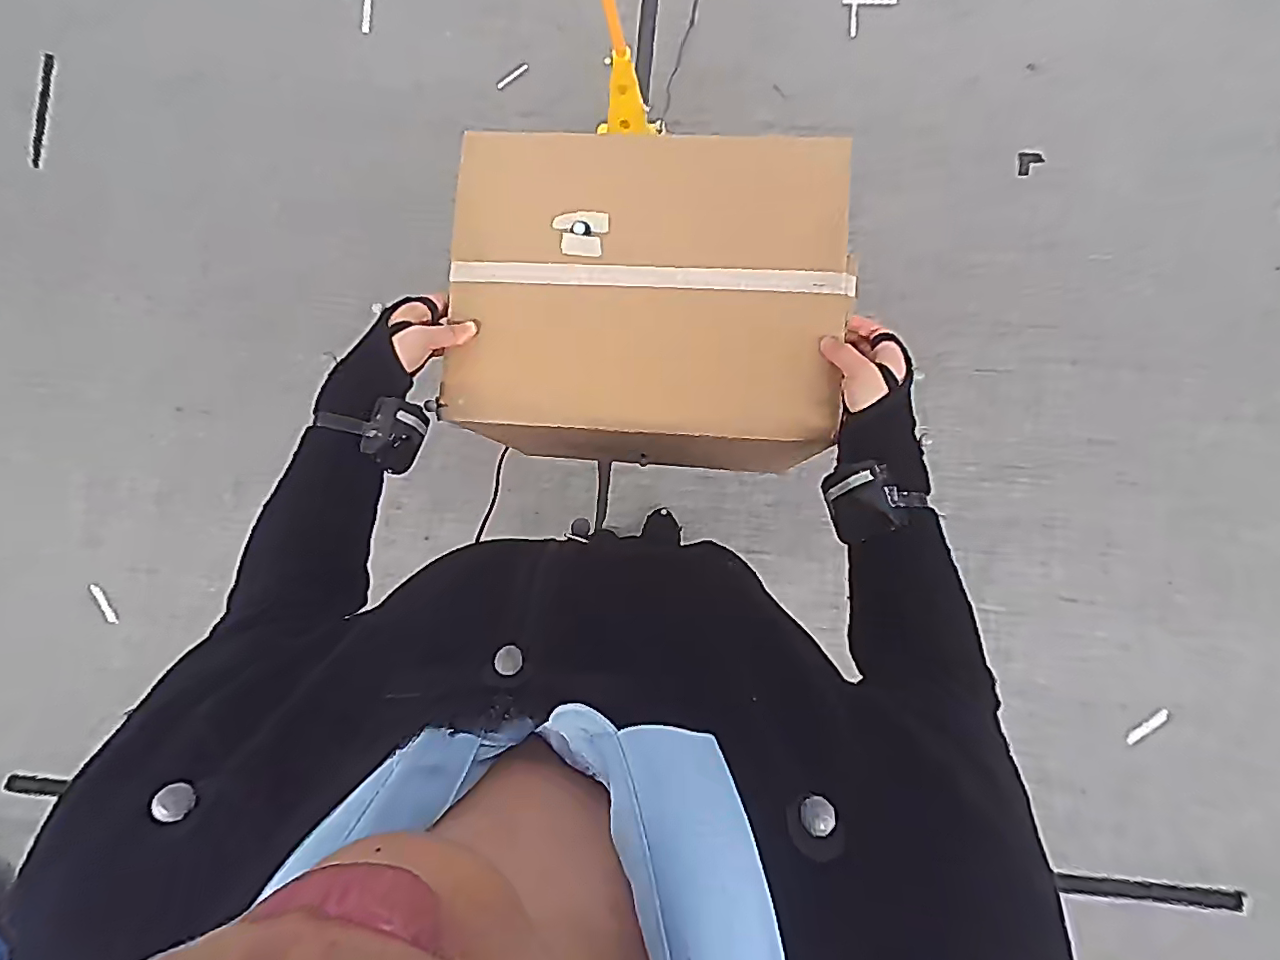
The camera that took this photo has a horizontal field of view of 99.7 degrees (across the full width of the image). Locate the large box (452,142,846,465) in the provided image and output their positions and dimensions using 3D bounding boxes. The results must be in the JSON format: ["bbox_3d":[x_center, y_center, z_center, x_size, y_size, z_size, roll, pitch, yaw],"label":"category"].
[{"bbox_3d":[0.022,-0.193,0.709,0.408,0.320,0.320,4,85,6],"label":"large box"}]
